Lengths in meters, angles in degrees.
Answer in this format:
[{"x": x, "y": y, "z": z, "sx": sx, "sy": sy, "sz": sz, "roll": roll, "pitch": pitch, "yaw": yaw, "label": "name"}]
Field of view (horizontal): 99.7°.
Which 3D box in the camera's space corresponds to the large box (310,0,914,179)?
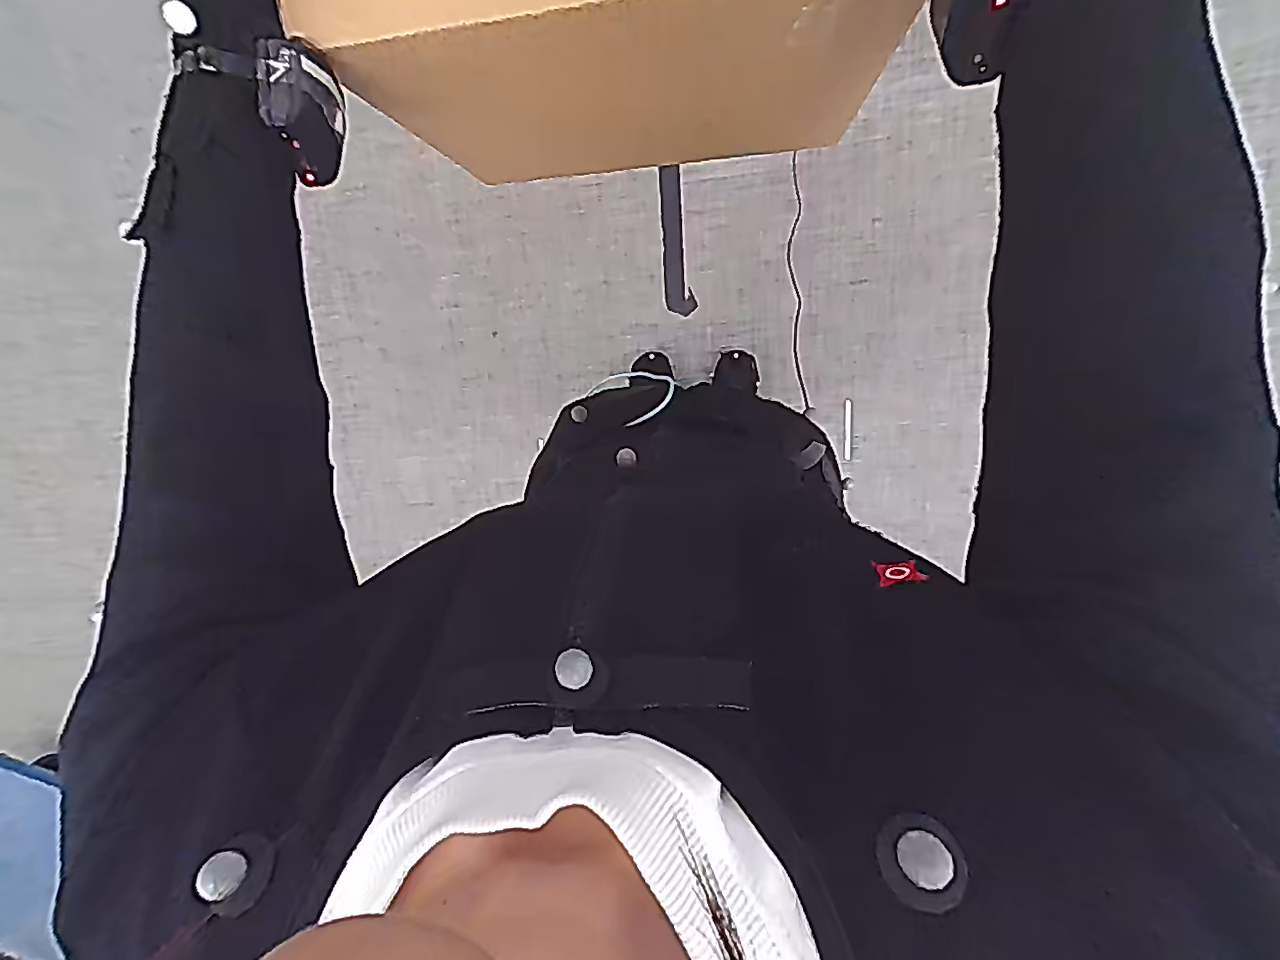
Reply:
[{"x": -0.011, "y": -0.477, "z": 0.435, "sx": 0.408, "sy": 0.320, "sz": 0.320, "roll": -3, "pitch": 104, "yaw": 8, "label": "large box"}]
